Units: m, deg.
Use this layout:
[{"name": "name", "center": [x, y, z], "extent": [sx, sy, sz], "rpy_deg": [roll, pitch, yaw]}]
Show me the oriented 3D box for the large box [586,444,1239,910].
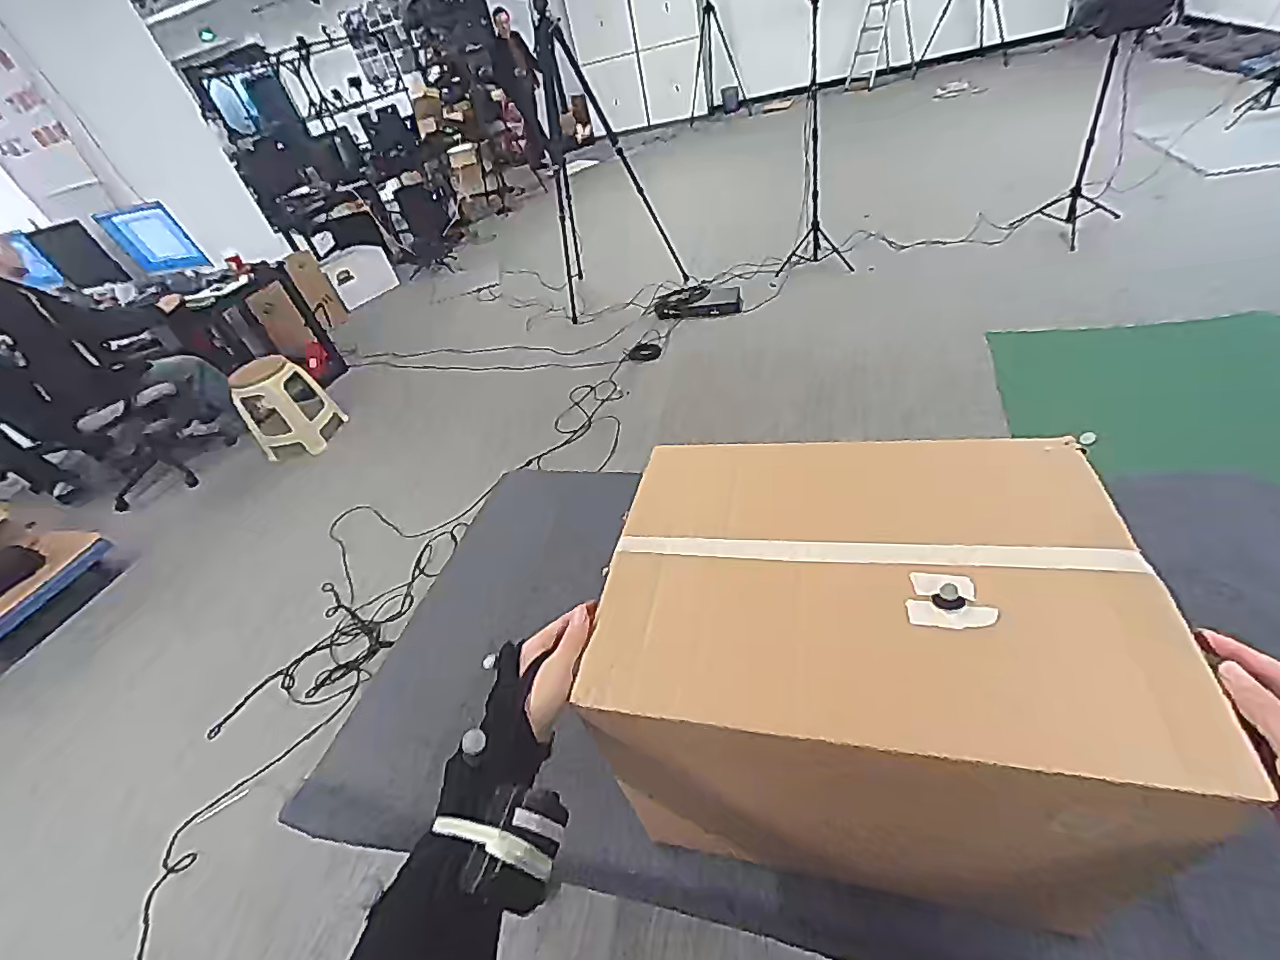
[{"name": "large box", "center": [0.204, 0.177, 0.555], "extent": [0.408, 0.320, 0.320], "rpy_deg": [1, 42, 17]}]
